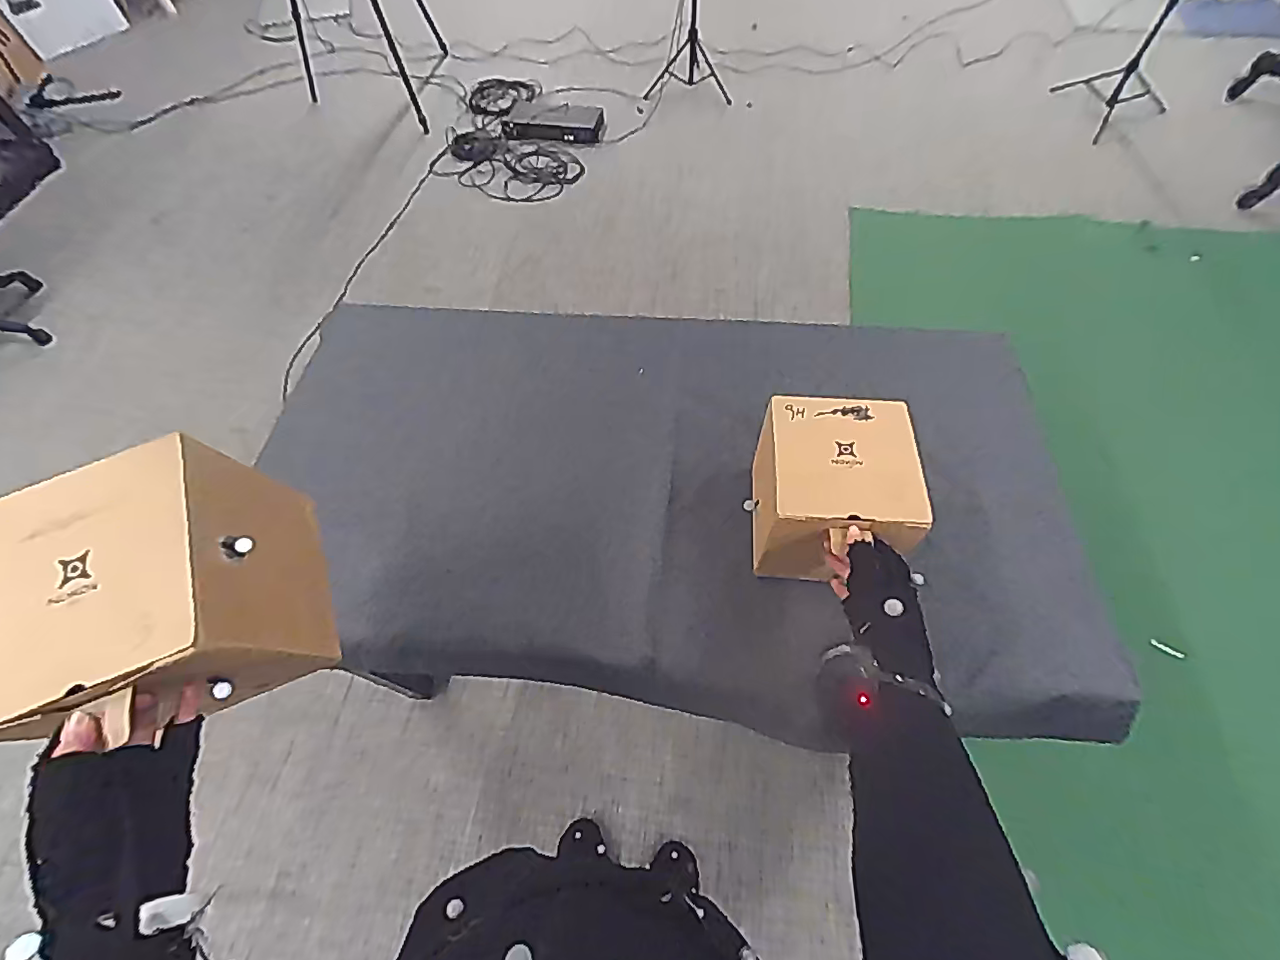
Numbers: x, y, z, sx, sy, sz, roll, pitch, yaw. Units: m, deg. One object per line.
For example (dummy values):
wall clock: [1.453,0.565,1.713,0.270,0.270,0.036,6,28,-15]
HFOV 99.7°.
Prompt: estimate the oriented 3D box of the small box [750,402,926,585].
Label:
small box: [0.236,0.023,0.692,0.168,0.176,0.179,4,59,4]

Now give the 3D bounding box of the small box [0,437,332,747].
small box: [-0.389,0.098,0.451,0.168,0.176,0.179,-22,67,-5]
